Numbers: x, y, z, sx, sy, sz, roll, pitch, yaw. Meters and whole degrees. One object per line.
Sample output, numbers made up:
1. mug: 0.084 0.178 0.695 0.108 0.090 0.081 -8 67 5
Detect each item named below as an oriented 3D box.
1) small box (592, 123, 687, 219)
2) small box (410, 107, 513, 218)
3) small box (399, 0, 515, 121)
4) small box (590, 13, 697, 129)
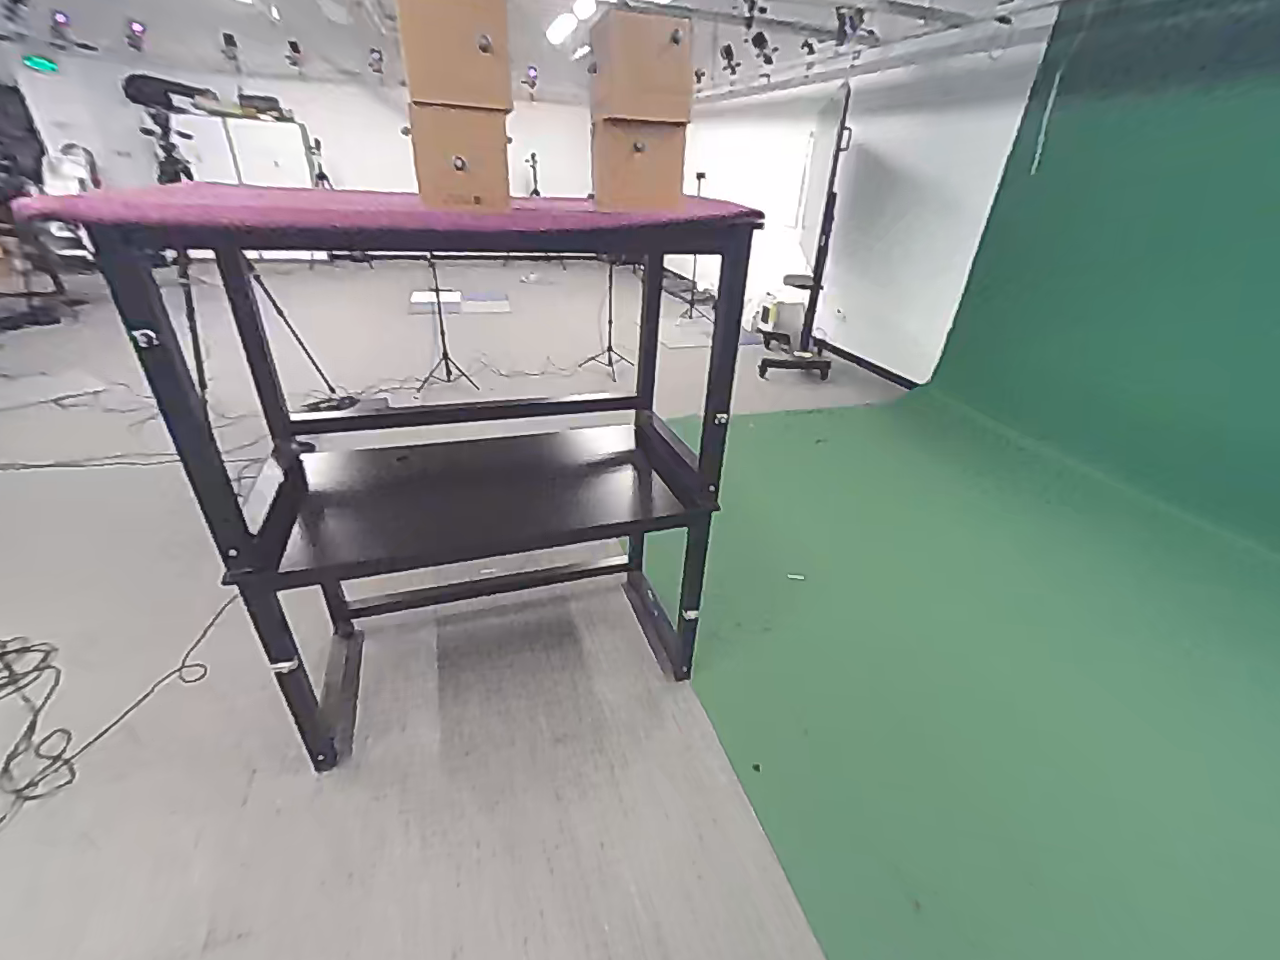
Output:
1. small box: -0.005 -0.665 1.176 0.179 0.176 0.168 -4 29 -12
2. small box: -0.339 -0.609 1.046 0.168 0.176 0.179 -5 31 -16
3. small box: -0.317 -0.745 0.959 0.179 0.176 0.168 -6 30 -15
4. small box: 0.002 -0.800 1.086 0.179 0.176 0.168 -7 30 -16
